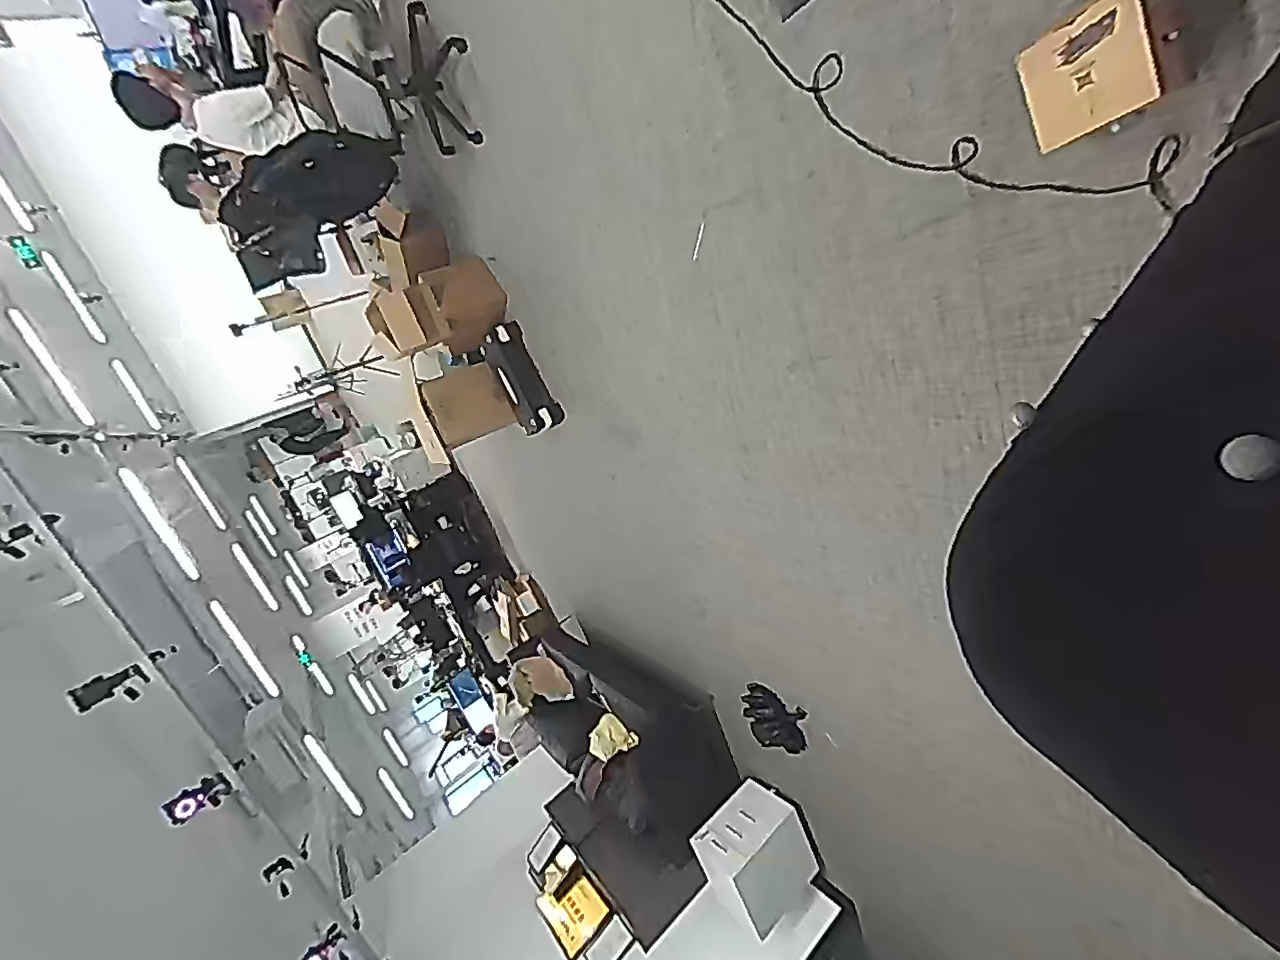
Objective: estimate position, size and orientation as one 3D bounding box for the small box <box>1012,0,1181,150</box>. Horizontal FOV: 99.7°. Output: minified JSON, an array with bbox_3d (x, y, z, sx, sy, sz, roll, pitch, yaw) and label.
[{"bbox_3d":[0.784,-0.709,0.929,0.168,0.176,0.179,-5,113,59],"label":"small box"}]
